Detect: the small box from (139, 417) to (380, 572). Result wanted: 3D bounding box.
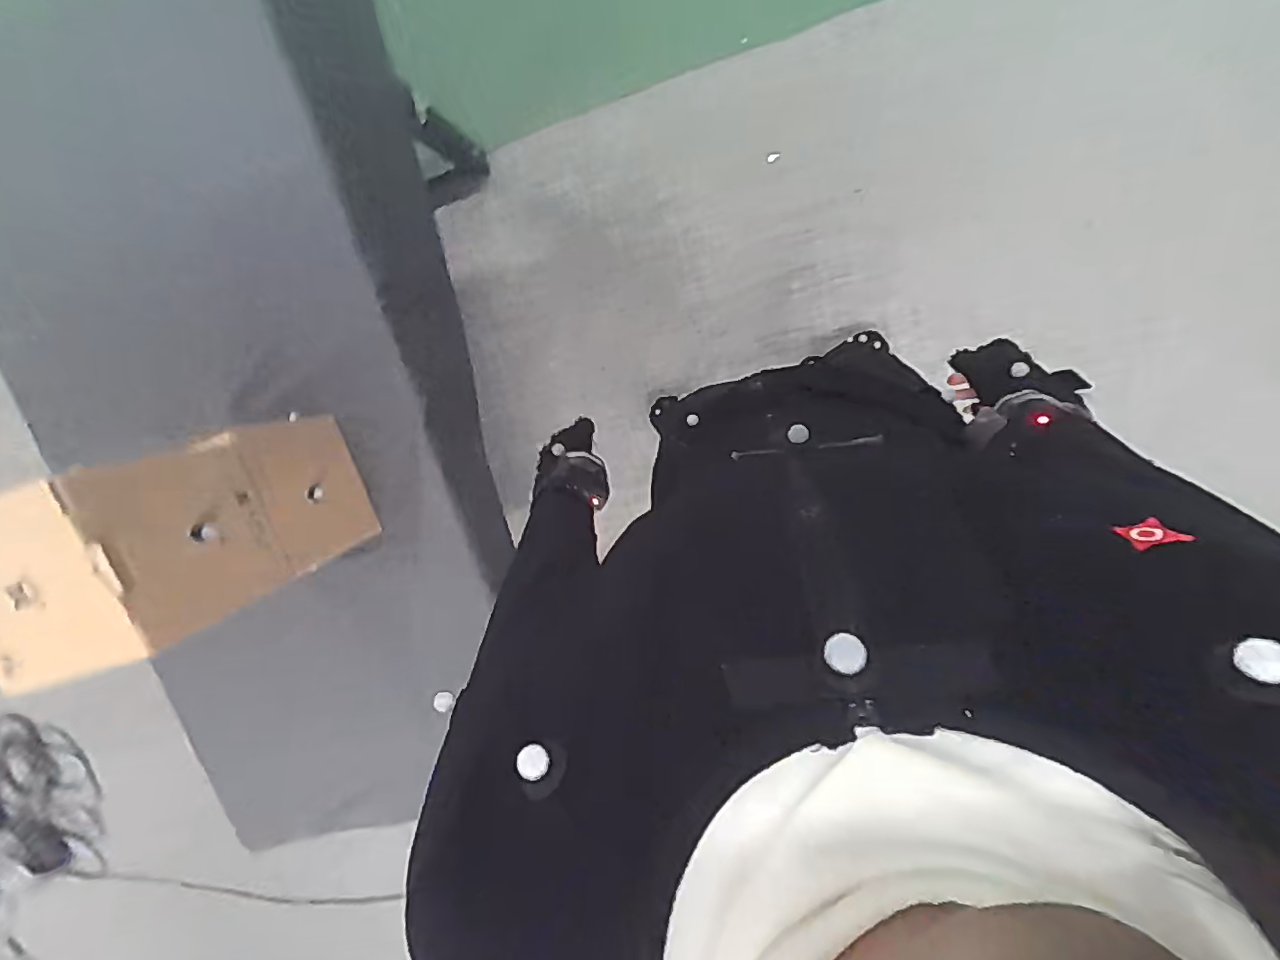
[{"bbox_3d":[-0.479,0.025,0.693,0.168,0.176,0.179,-20,99,12],"label":"small box"}]

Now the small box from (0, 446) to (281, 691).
[{"bbox_3d":[-0.505,0.075,0.539,0.179,0.176,0.168,-16,102,12],"label":"small box"}]
